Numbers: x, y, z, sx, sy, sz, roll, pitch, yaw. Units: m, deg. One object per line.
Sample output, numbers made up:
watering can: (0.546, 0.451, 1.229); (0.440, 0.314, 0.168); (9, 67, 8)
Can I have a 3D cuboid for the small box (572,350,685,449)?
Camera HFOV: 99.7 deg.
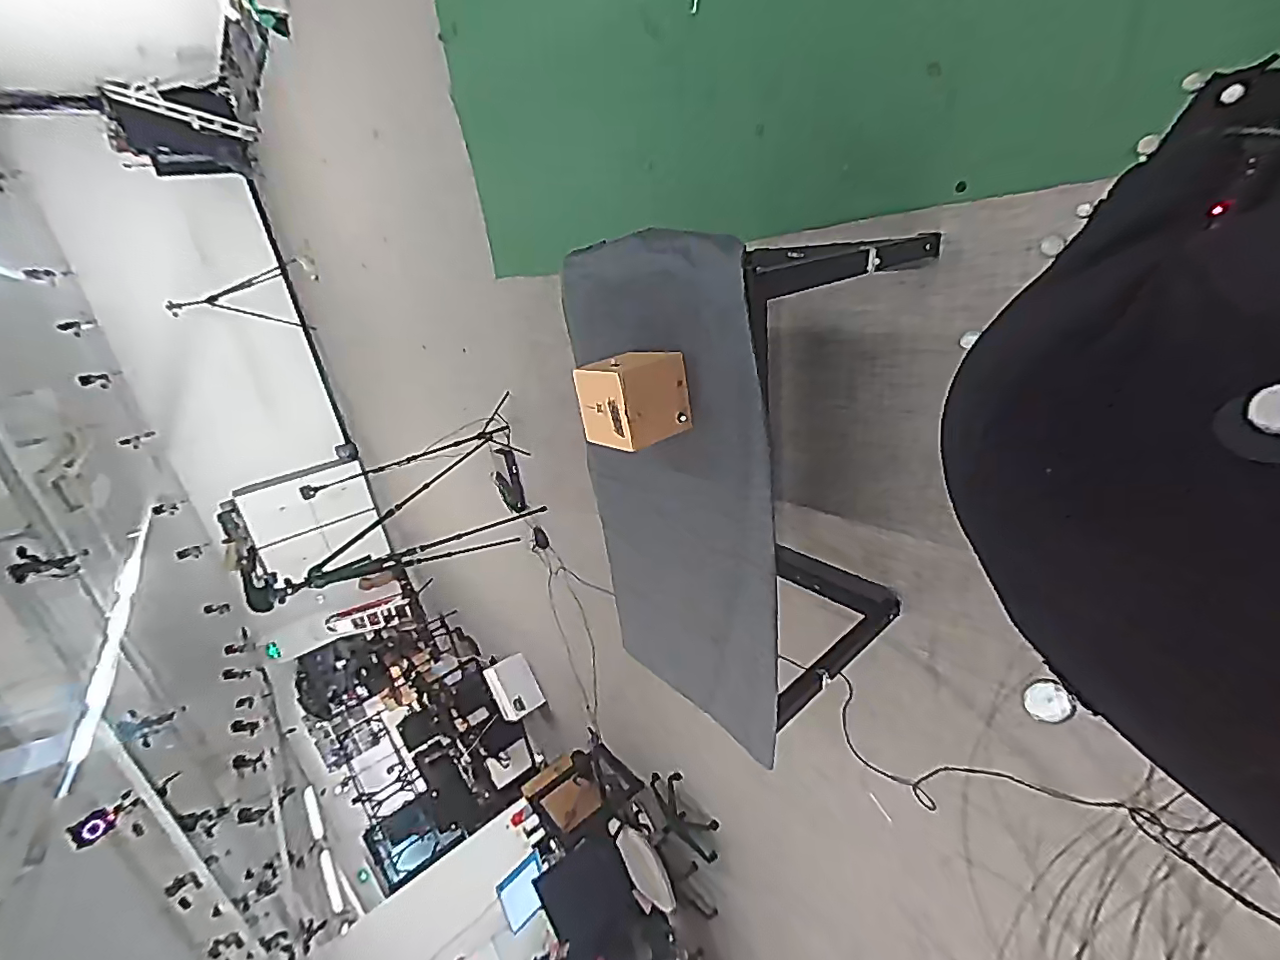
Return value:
small box: (-0.016, -0.180, 1.161); (0.179, 0.176, 0.168); (17, 124, 50)
